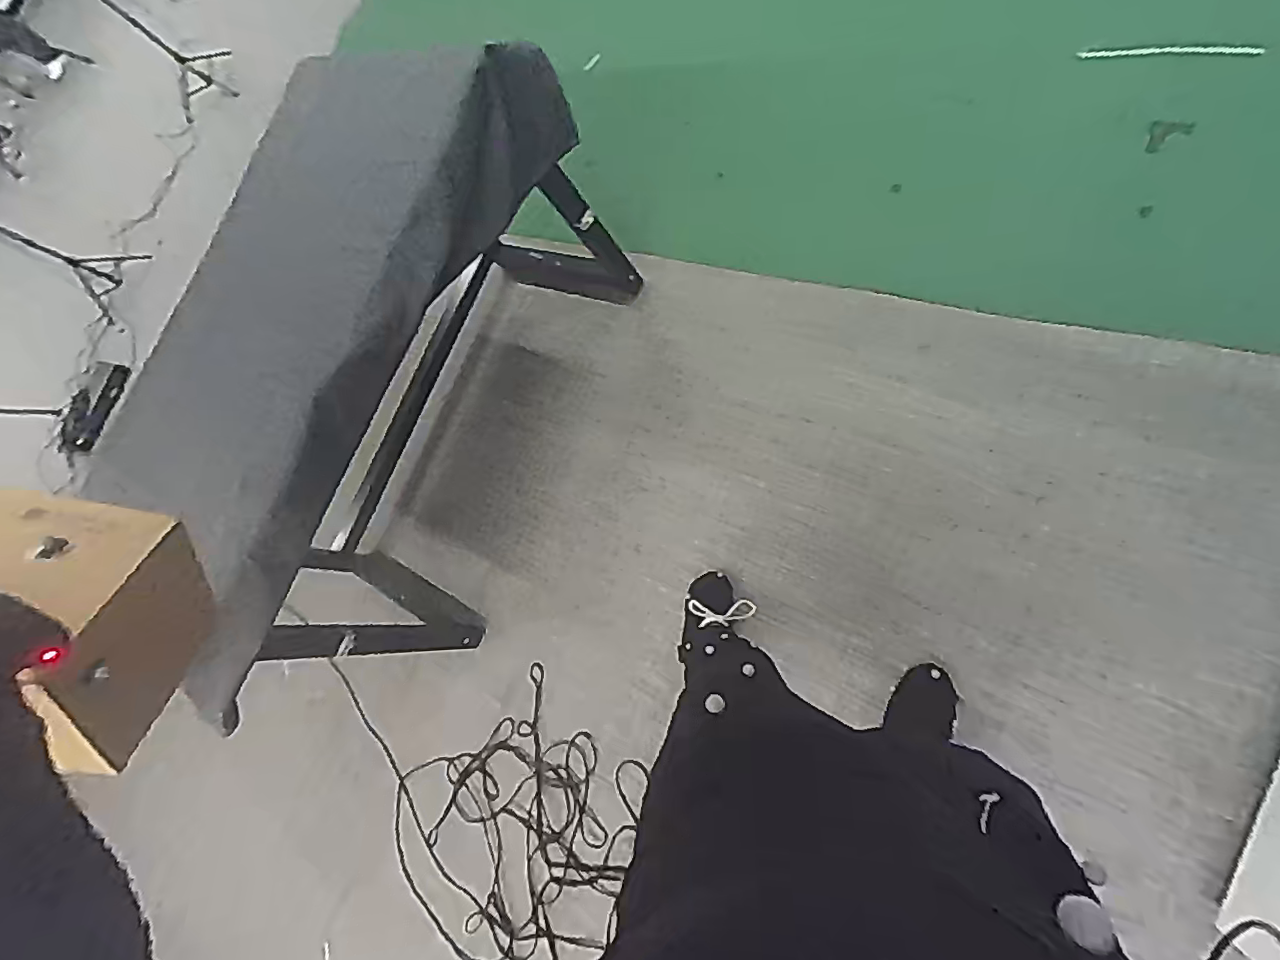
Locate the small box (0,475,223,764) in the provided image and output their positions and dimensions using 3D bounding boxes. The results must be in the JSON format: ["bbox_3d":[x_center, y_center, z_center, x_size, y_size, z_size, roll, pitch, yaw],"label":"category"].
[{"bbox_3d":[-0.522,0.125,0.489,0.168,0.179,0.176,13,39,-10],"label":"small box"}]
